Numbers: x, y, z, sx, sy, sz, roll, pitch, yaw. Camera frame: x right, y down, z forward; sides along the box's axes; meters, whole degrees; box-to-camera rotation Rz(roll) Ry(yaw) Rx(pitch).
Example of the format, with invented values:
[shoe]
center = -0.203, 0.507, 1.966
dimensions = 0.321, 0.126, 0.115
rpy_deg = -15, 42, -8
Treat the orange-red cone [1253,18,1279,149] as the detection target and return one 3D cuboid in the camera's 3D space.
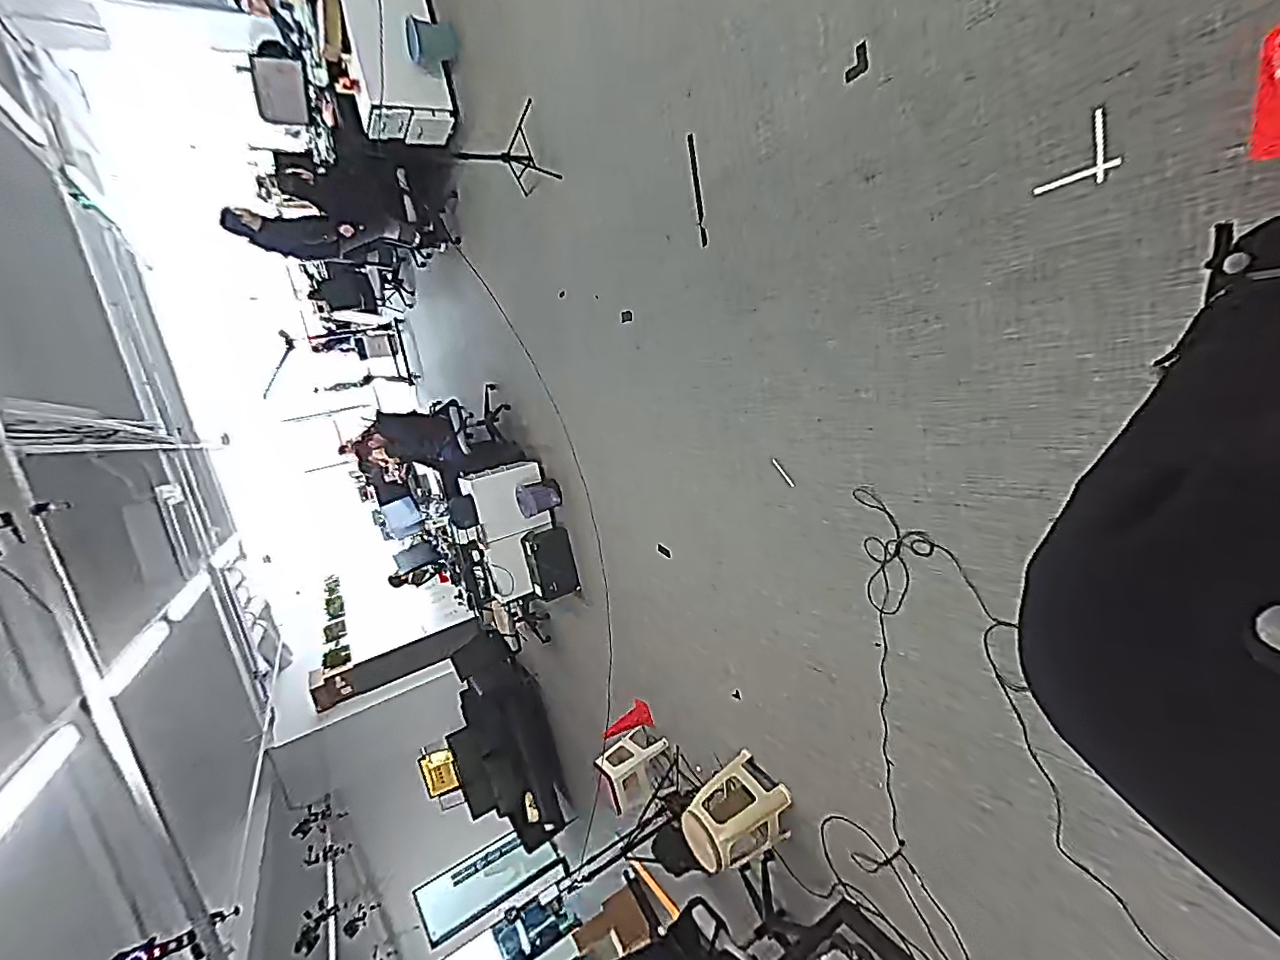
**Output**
[orange-red cone]
center = 0.936, -0.592, 0.735
dimensions = 0.199, 0.360, 0.198
rpy_deg = 17, 119, 58
